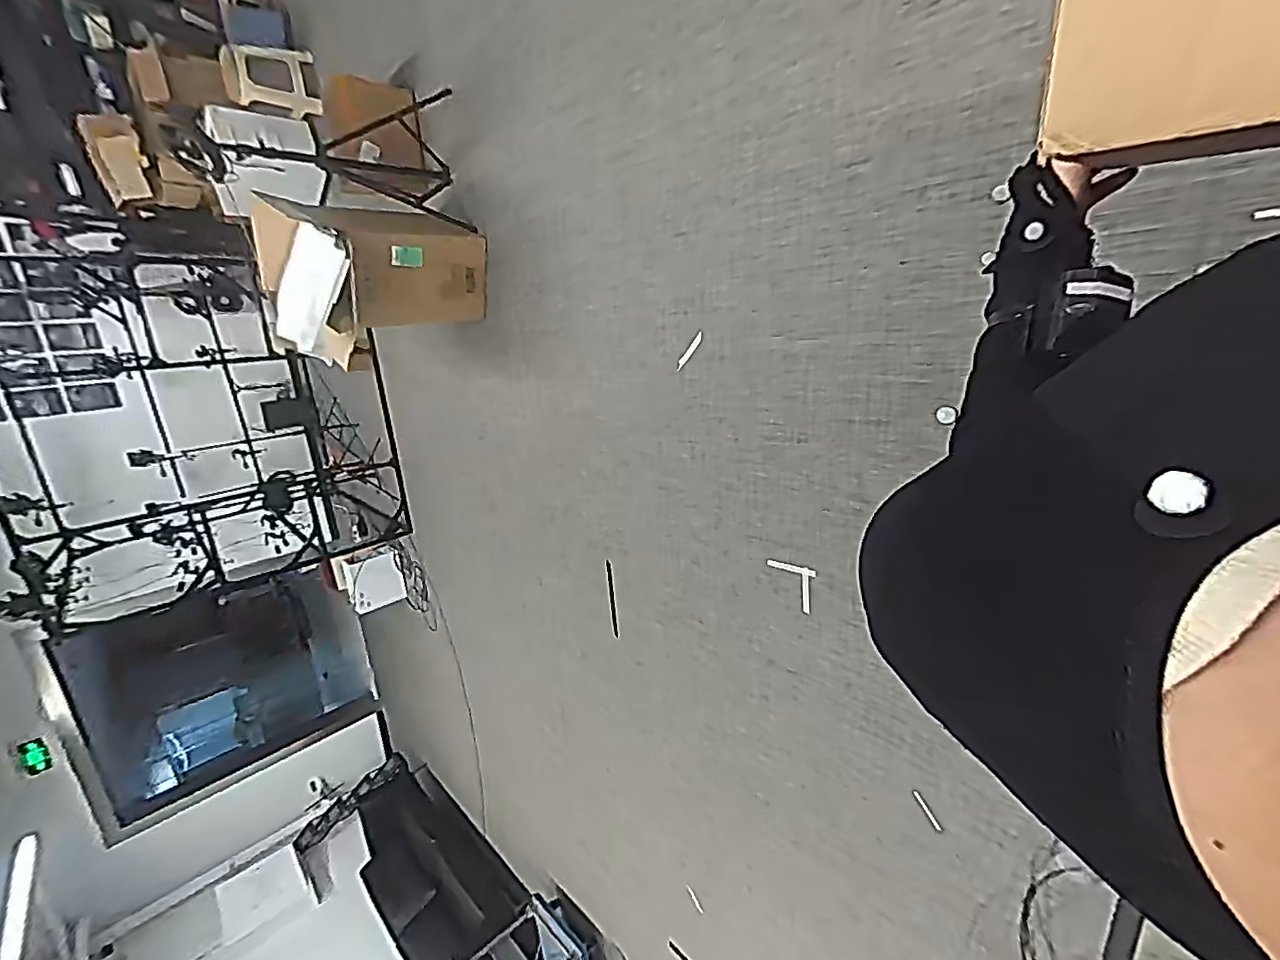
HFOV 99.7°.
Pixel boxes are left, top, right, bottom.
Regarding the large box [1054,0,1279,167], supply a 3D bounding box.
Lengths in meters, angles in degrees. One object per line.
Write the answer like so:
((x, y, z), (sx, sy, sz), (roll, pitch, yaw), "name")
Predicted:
((0.417, -0.318, 0.173), (0.408, 0.320, 0.320), (12, 120, 39), "large box")
